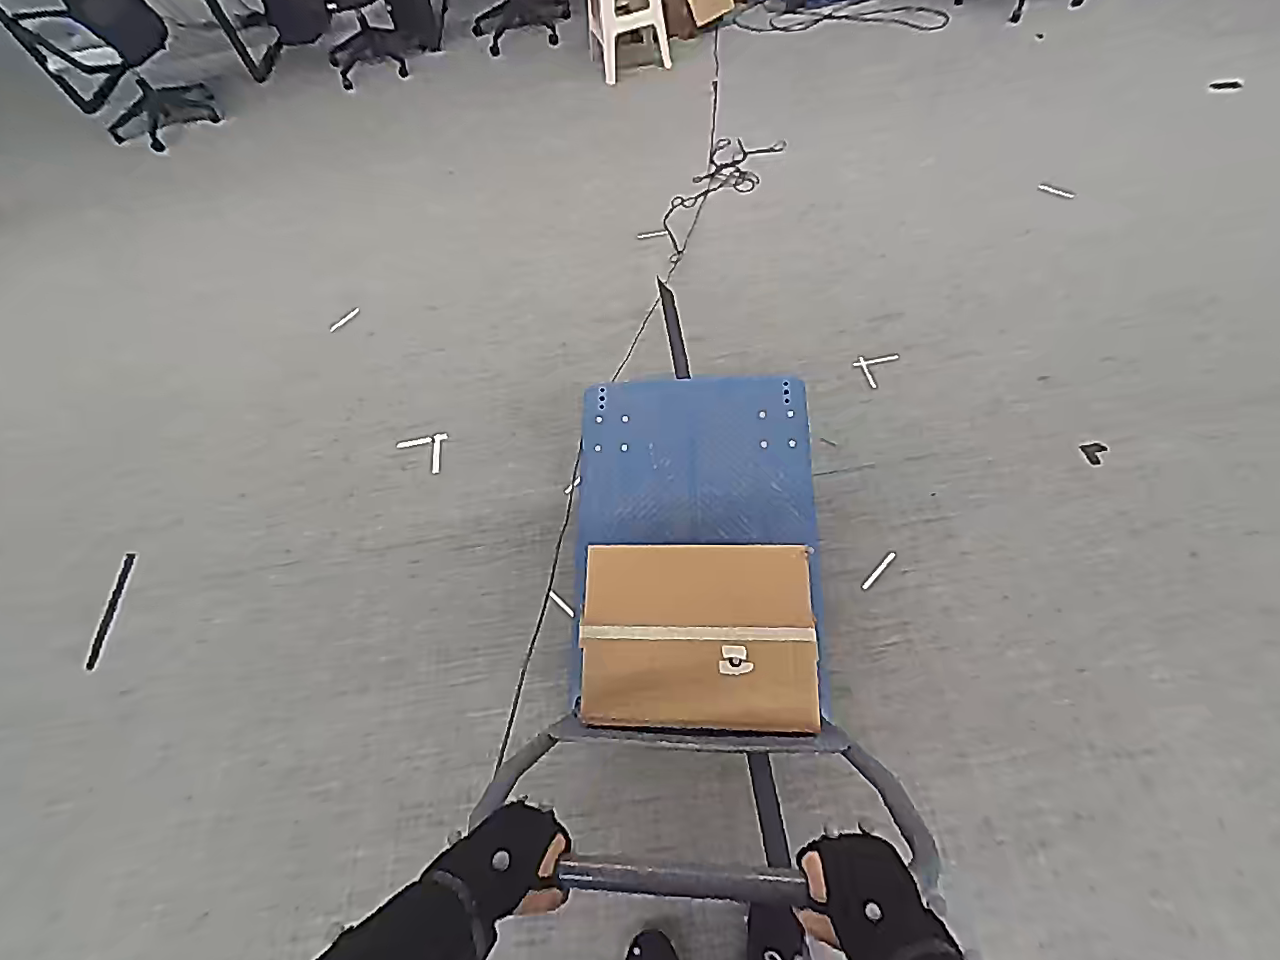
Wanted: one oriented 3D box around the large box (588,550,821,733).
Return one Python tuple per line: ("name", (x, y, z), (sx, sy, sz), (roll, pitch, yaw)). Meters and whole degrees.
("large box", (0.118, 0.328, 1.106), (0.408, 0.320, 0.320), (-2, 73, 5))
